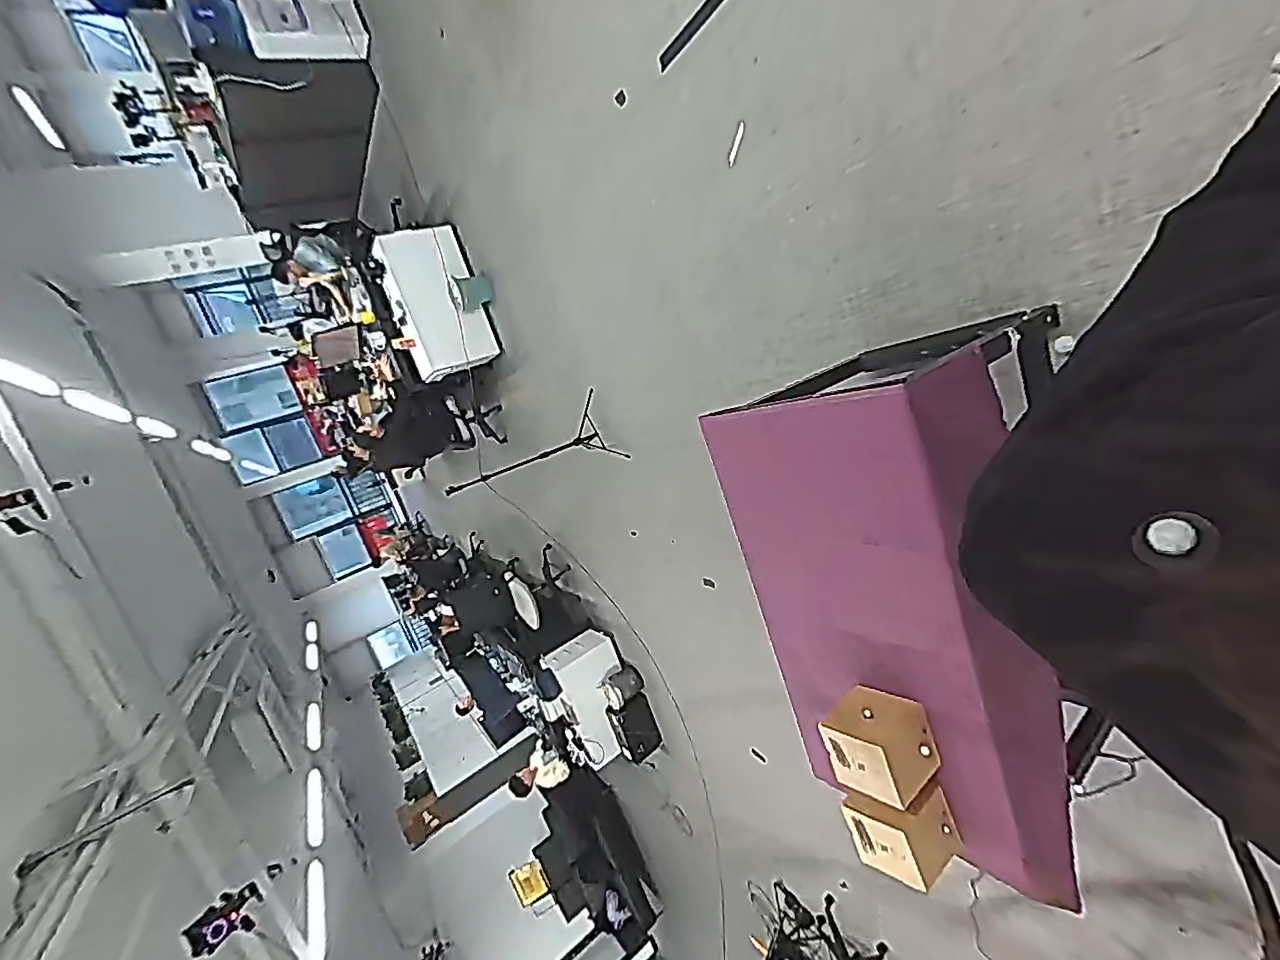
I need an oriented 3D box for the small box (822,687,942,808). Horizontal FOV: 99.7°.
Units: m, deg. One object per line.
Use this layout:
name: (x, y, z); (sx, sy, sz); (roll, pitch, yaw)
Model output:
small box: (0.573, 0.620, 1.284); (0.179, 0.176, 0.168); (-9, 105, 59)
